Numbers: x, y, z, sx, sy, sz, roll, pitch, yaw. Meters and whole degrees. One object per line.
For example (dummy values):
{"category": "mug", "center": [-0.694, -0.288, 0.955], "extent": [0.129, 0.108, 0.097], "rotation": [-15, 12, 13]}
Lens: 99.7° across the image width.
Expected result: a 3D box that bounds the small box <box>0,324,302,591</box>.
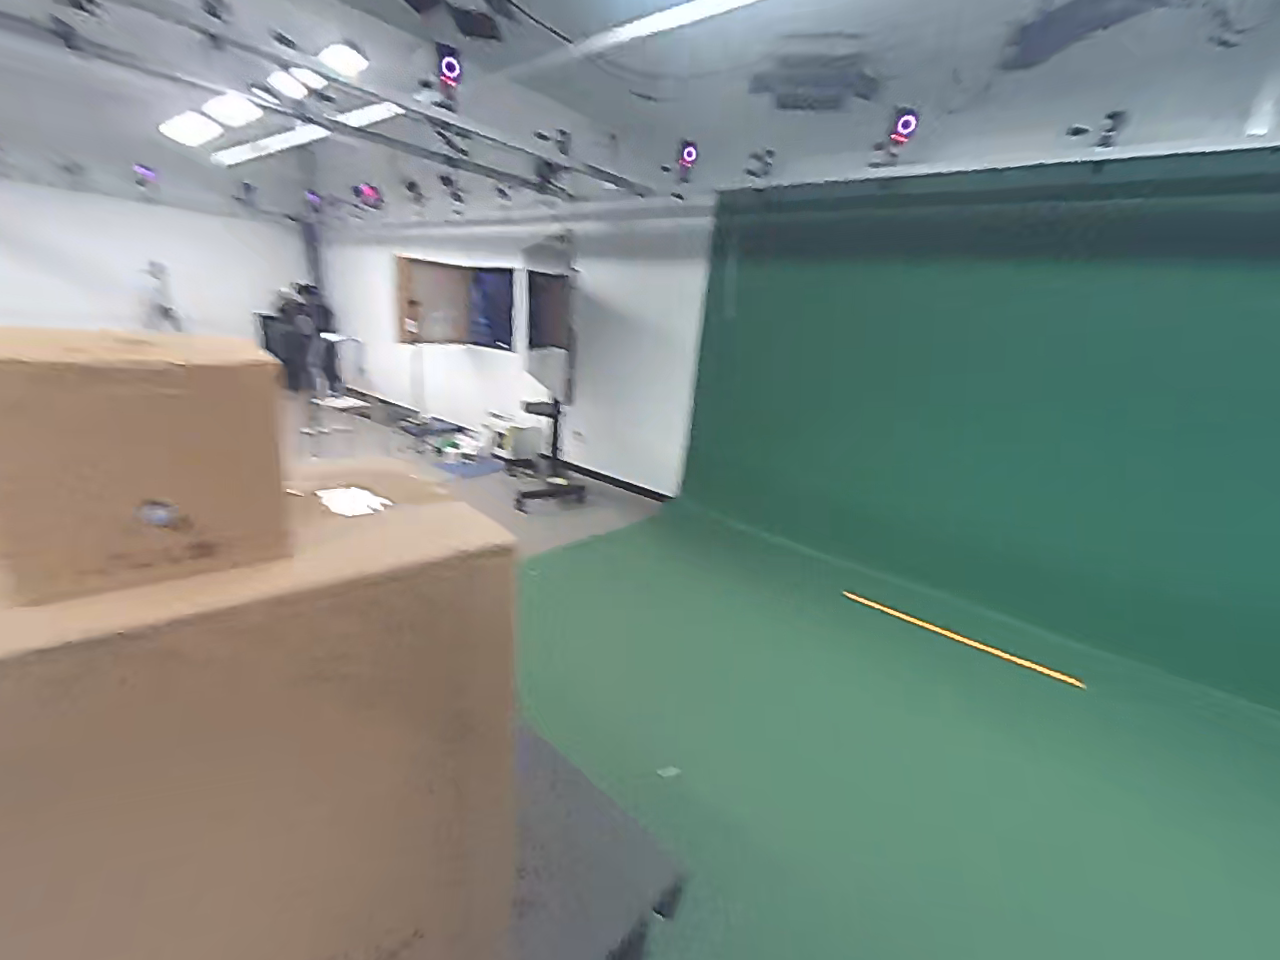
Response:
{"category": "small box", "center": [-0.400, -0.029, 0.456], "extent": [0.168, 0.176, 0.179], "rotation": [-9, 24, -42]}
